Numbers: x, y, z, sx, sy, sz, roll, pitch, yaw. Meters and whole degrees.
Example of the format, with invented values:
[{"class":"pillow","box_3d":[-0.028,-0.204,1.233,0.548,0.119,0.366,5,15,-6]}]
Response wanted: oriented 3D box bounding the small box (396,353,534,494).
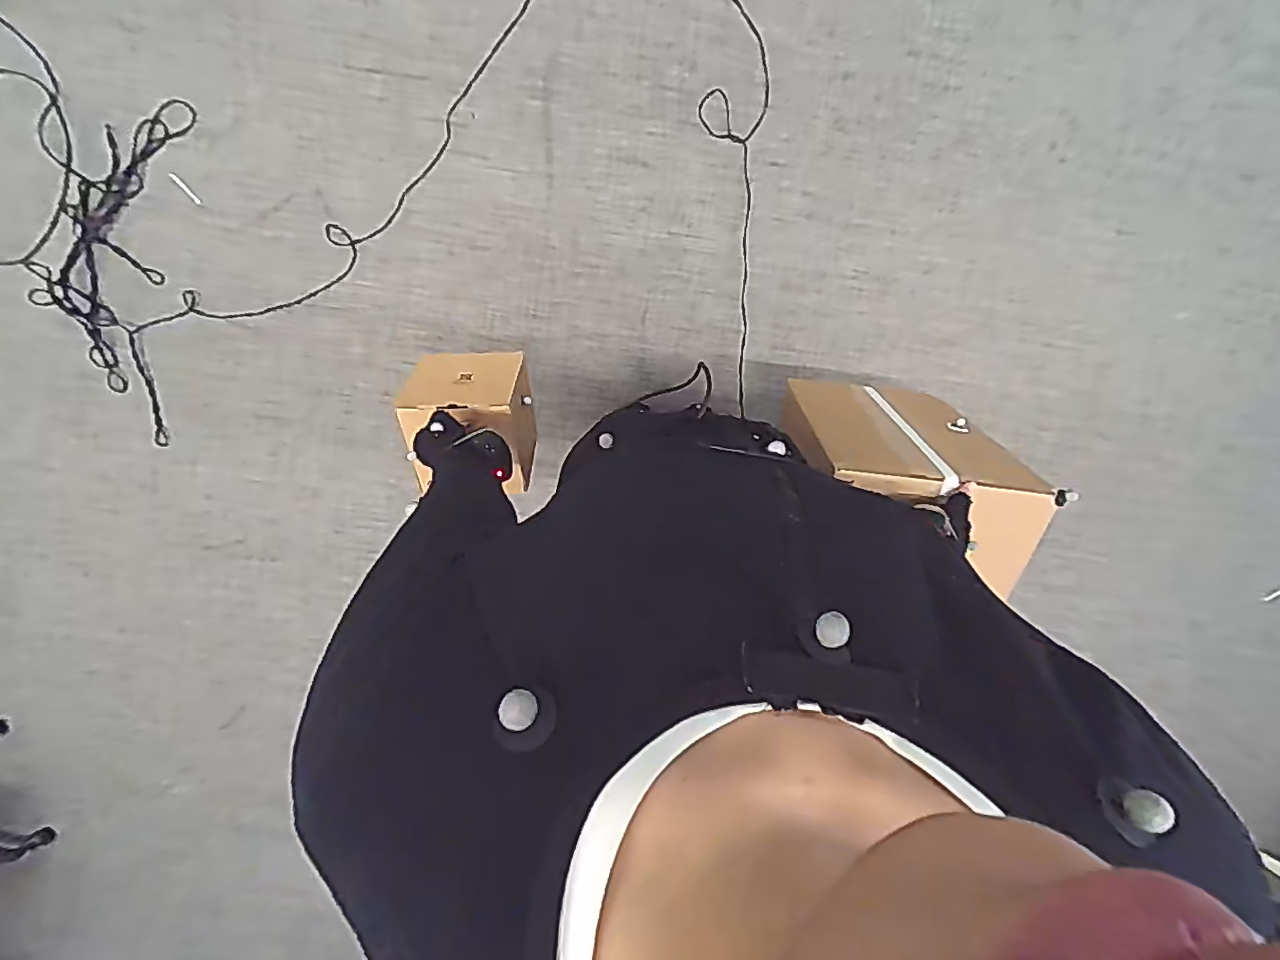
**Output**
[{"class":"small box","box_3d":[-0.273,-0.095,0.892,0.168,0.179,0.176,-2,130,-1]}]
